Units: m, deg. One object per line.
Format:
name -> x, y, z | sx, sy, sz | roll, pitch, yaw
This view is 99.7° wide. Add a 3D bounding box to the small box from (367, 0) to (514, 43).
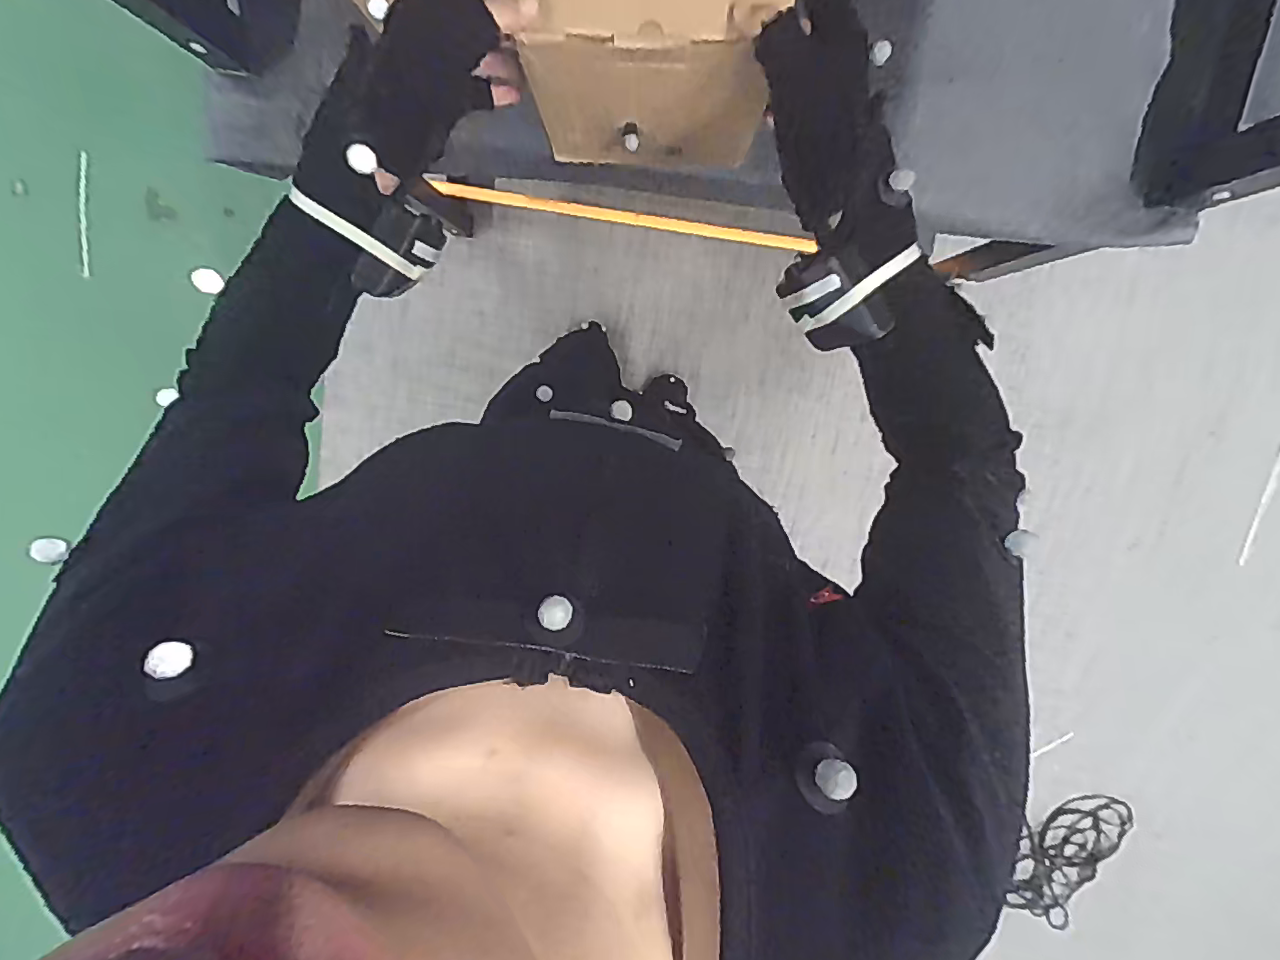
small box -> -0.224, -0.598, 0.547 | 0.168, 0.176, 0.179 | 7, 101, 1
